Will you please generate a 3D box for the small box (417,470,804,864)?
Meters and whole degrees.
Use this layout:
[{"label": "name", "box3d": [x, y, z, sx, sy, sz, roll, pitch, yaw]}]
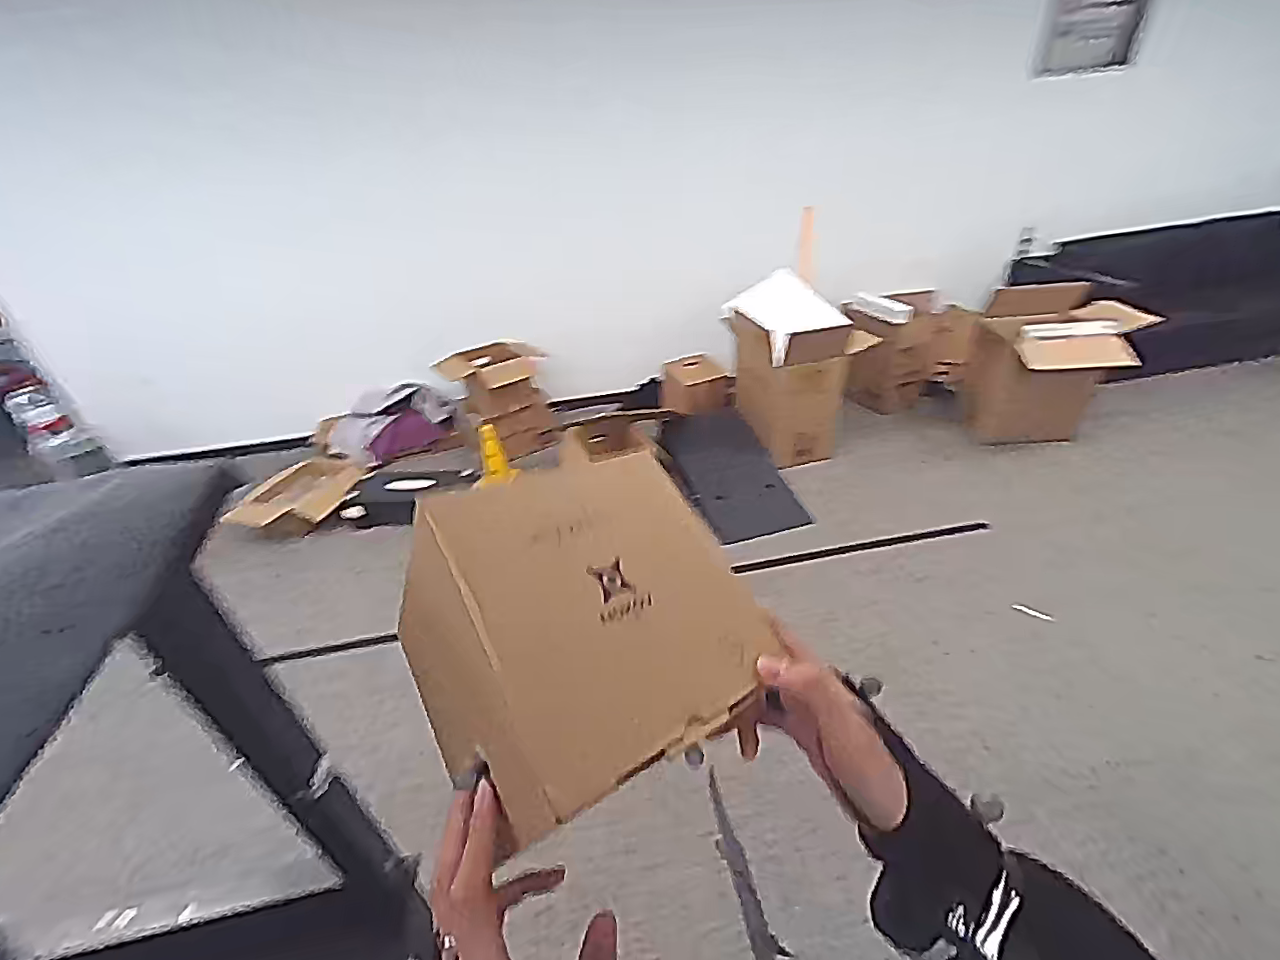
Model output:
[{"label": "small box", "box3d": [-0.036, 0.122, 0.364, 0.168, 0.176, 0.179, -13, 57, -37]}]
